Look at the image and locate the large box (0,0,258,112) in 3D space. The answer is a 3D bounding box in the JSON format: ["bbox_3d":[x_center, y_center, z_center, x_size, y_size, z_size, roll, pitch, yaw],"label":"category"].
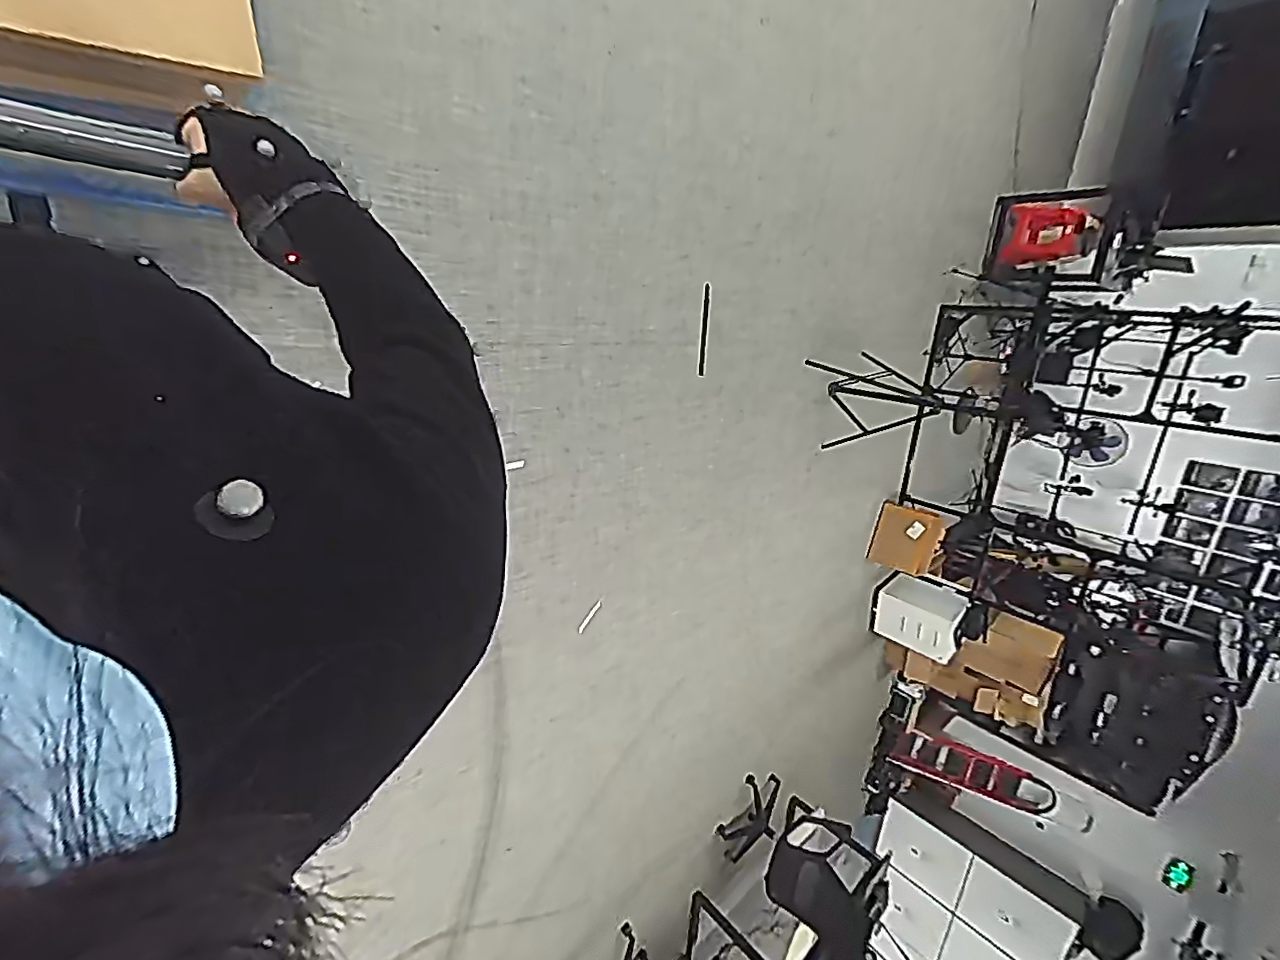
[{"bbox_3d":[-0.795,-0.713,0.694,0.408,0.320,0.320,-19,119,-40],"label":"large box"}]
